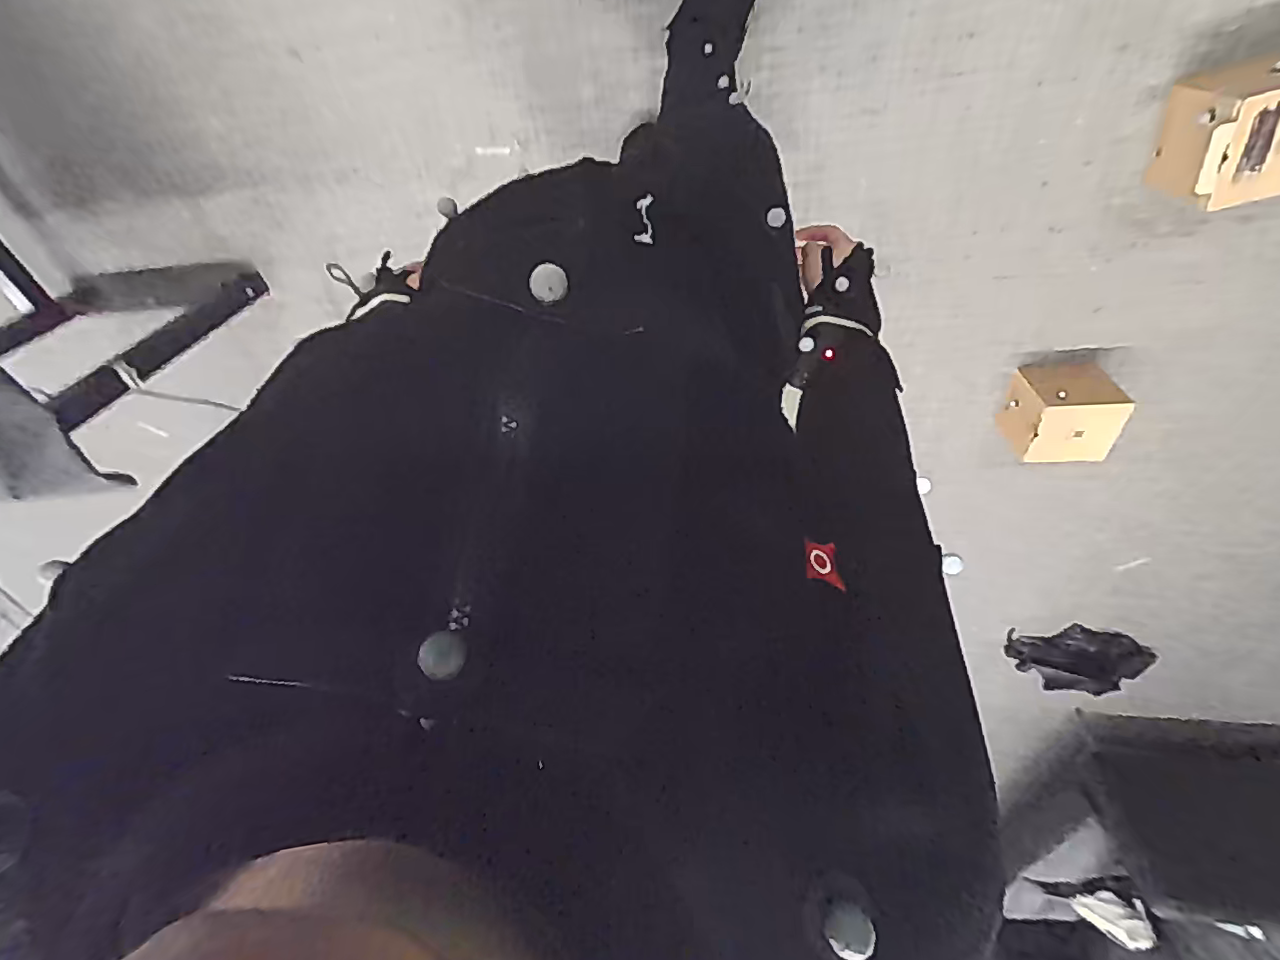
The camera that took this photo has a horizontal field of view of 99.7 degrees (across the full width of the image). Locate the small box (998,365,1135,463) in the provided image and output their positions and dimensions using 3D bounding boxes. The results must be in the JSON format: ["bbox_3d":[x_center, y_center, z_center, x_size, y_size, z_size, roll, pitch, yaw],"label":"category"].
[{"bbox_3d":[0.988,-0.157,1.273,0.179,0.176,0.168,-1,133,10],"label":"small box"}]
